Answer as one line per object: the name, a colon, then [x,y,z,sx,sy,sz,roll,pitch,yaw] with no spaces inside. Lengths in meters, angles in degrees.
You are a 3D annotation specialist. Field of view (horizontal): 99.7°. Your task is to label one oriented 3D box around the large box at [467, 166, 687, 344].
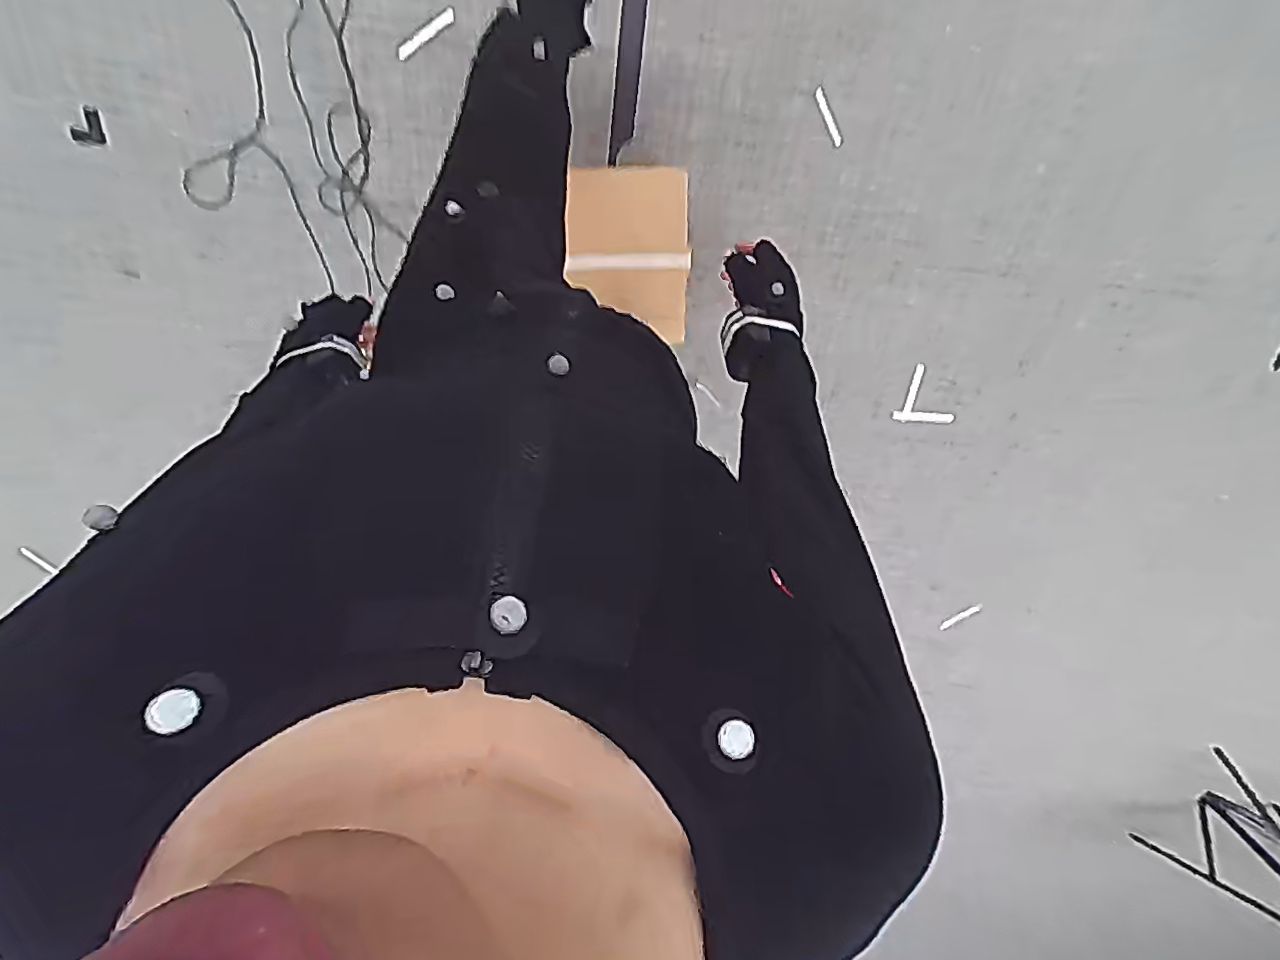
large box: [-0.113,-0.489,1.166,0.408,0.320,0.320,-1,117,-1]
